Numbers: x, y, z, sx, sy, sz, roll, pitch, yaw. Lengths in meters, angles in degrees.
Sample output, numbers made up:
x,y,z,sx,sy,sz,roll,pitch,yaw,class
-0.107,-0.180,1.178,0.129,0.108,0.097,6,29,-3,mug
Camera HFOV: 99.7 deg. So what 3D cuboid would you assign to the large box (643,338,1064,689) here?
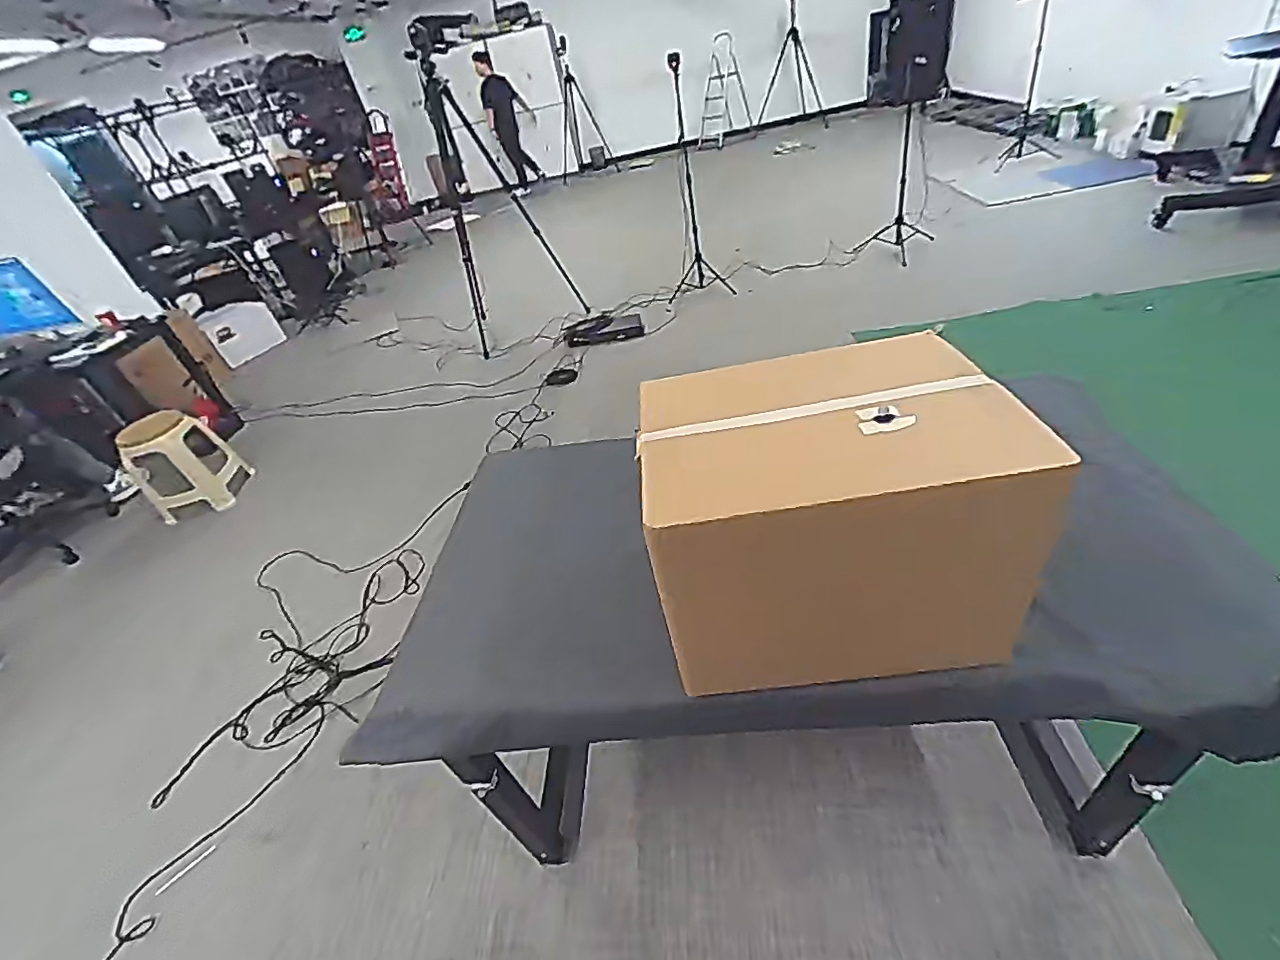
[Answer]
x,y,z,sx,sy,sz,roll,pitch,yaw,class
0.227,0.043,0.729,0.408,0.320,0.320,-9,38,5,large box
